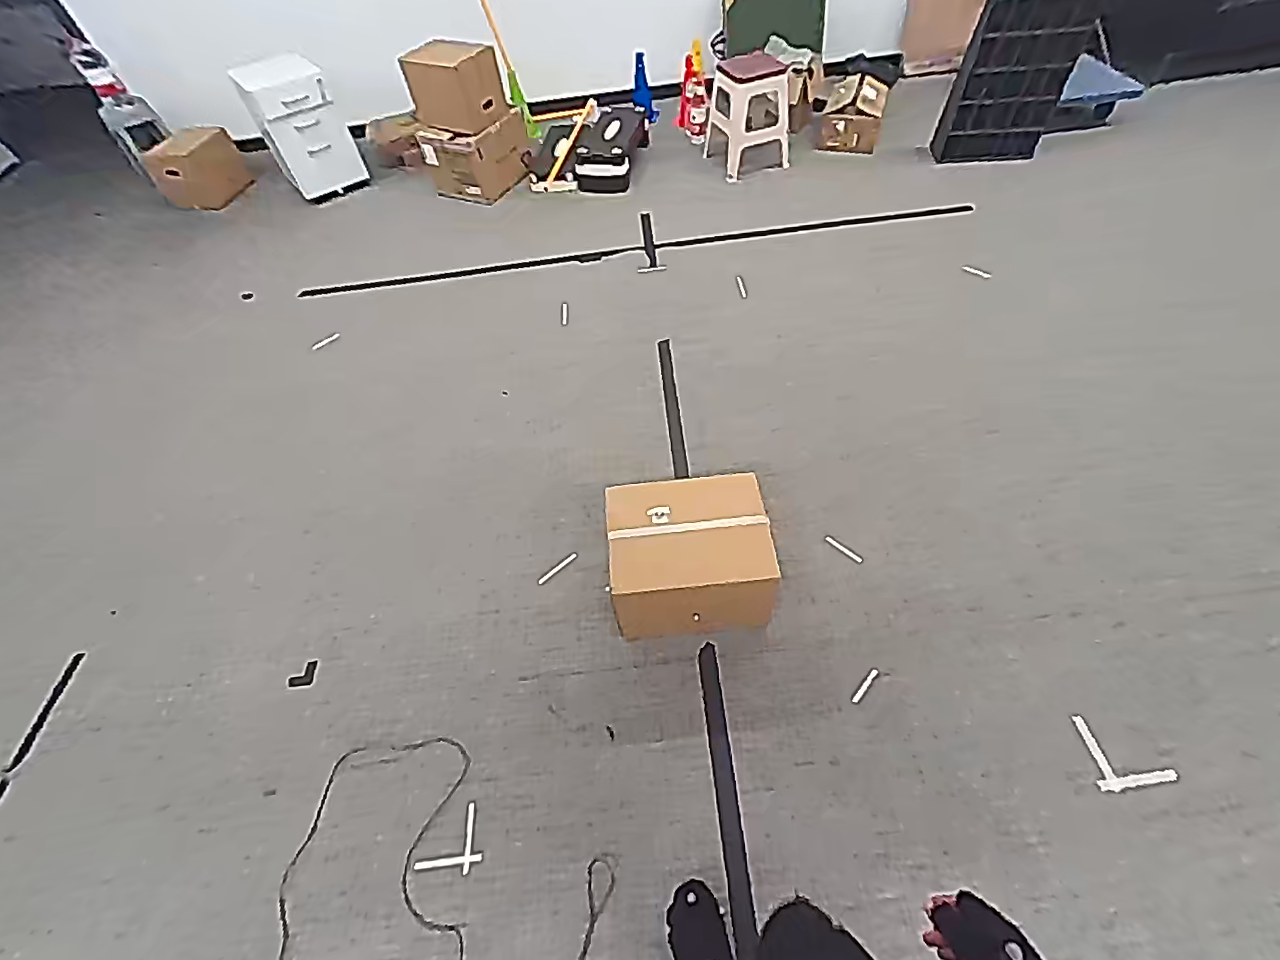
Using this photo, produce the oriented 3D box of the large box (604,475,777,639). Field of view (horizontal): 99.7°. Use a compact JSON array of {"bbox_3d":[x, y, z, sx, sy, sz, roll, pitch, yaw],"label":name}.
[{"bbox_3d":[0.129,0.218,1.477,0.408,0.320,0.320,-7,53,2],"label":"large box"}]
